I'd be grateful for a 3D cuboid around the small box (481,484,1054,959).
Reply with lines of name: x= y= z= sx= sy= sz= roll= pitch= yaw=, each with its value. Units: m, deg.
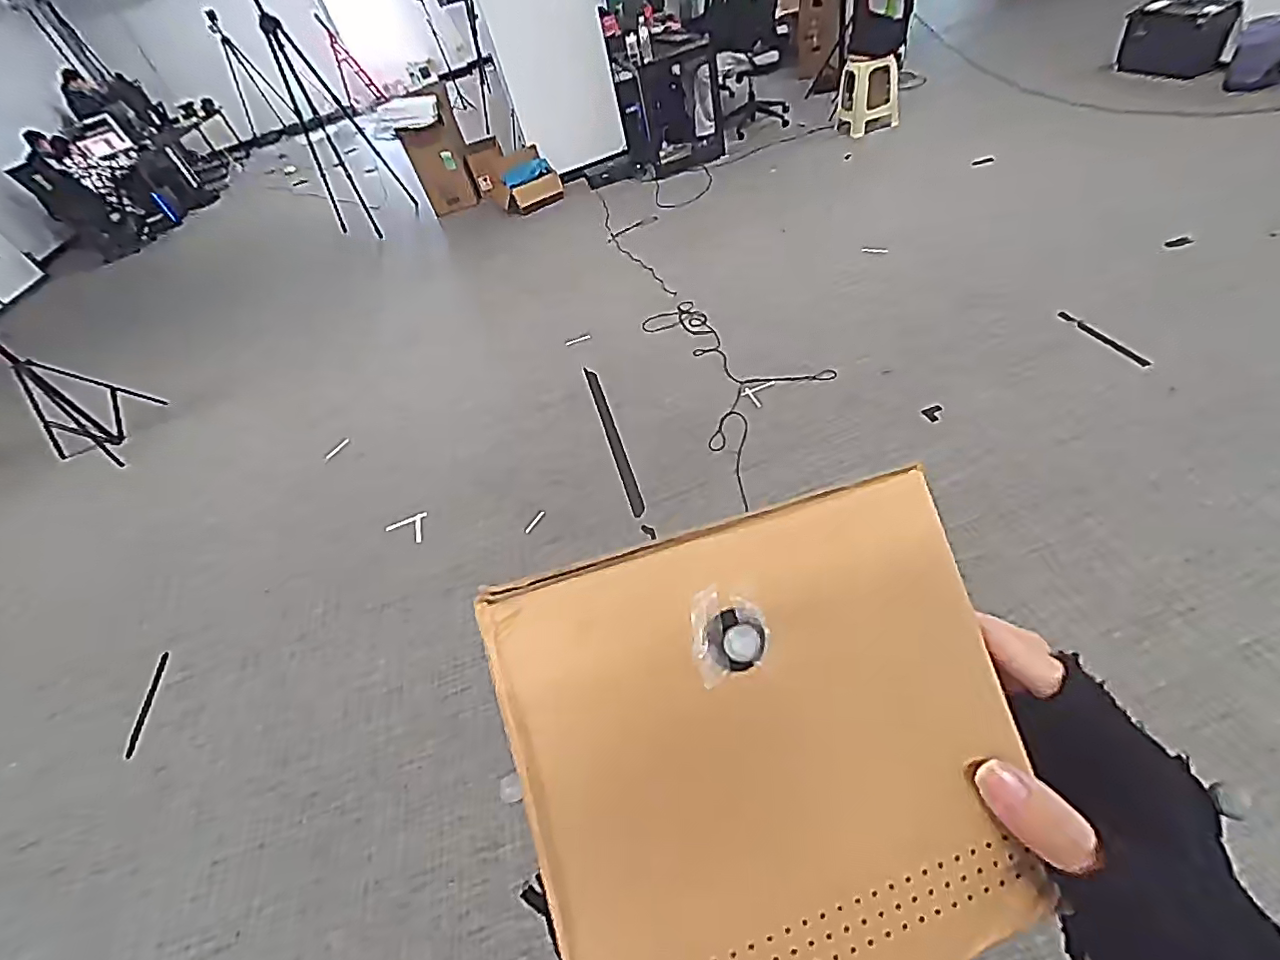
small box: x=0.043 y=0.116 z=0.264 sx=0.179 sy=0.168 sz=0.176 roll=-15 pitch=83 yaw=-8
